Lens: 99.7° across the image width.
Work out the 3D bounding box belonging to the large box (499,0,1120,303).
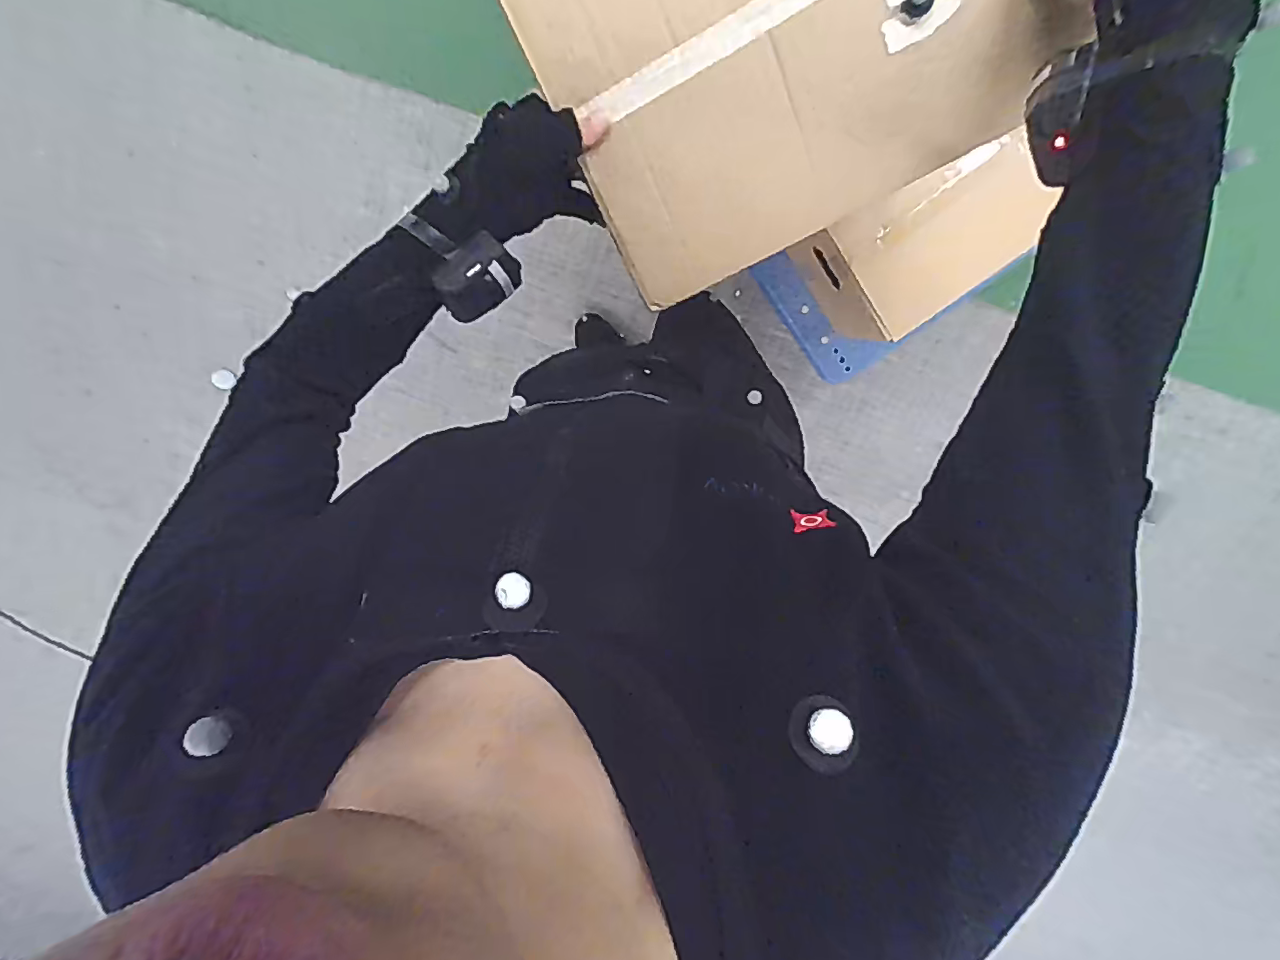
[{"bbox_3d":[0.117,-0.419,0.527,0.408,0.320,0.320,-25,112,10],"label":"large box"}]
